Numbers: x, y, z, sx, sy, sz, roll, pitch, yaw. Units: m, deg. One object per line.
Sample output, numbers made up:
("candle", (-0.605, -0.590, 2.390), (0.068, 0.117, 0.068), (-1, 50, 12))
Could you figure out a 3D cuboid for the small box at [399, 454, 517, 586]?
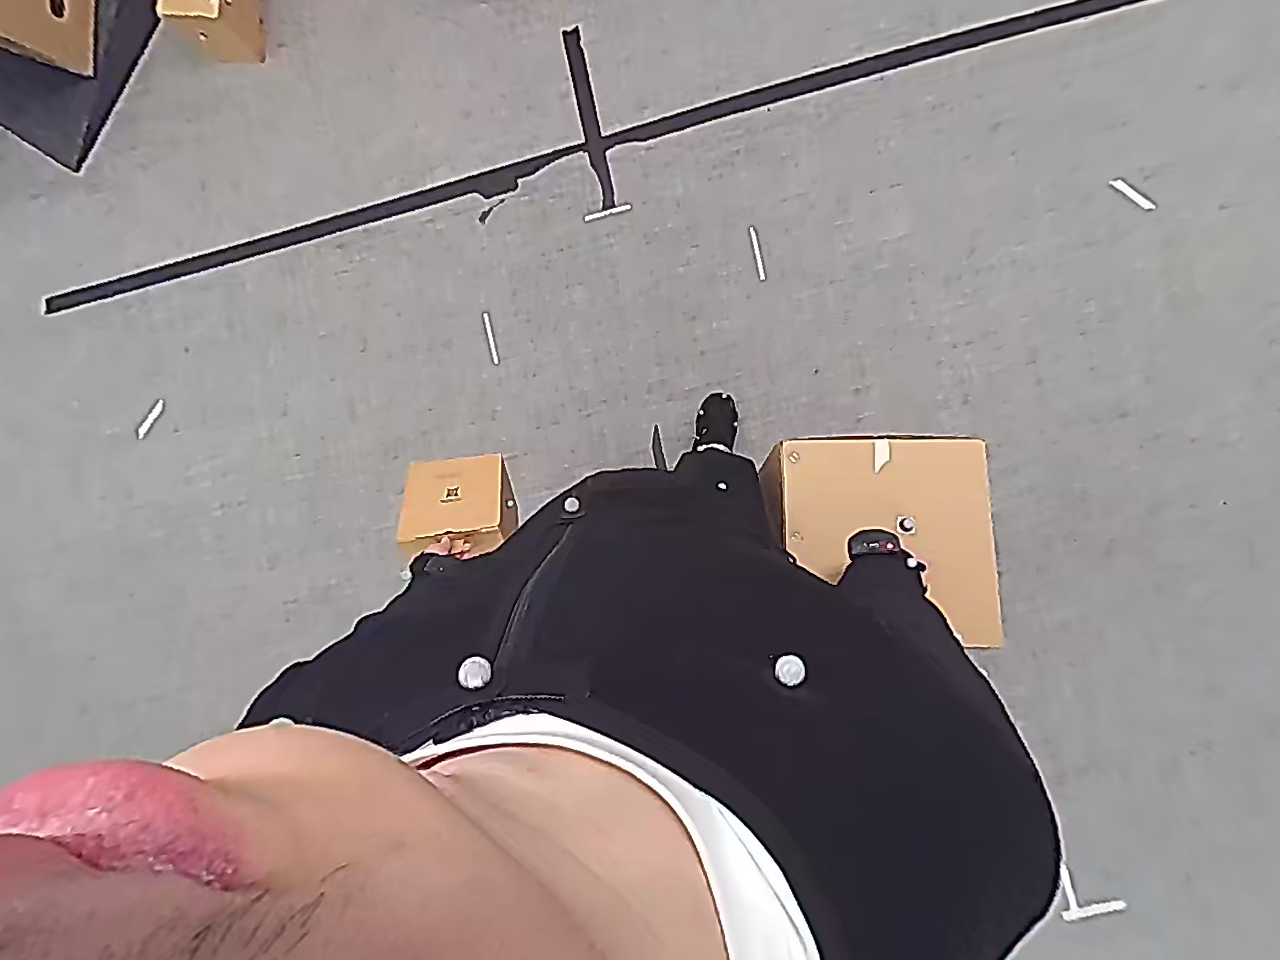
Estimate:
("small box", (-0.321, 0.080, 0.992), (0.168, 0.176, 0.179), (-7, 47, -6))
